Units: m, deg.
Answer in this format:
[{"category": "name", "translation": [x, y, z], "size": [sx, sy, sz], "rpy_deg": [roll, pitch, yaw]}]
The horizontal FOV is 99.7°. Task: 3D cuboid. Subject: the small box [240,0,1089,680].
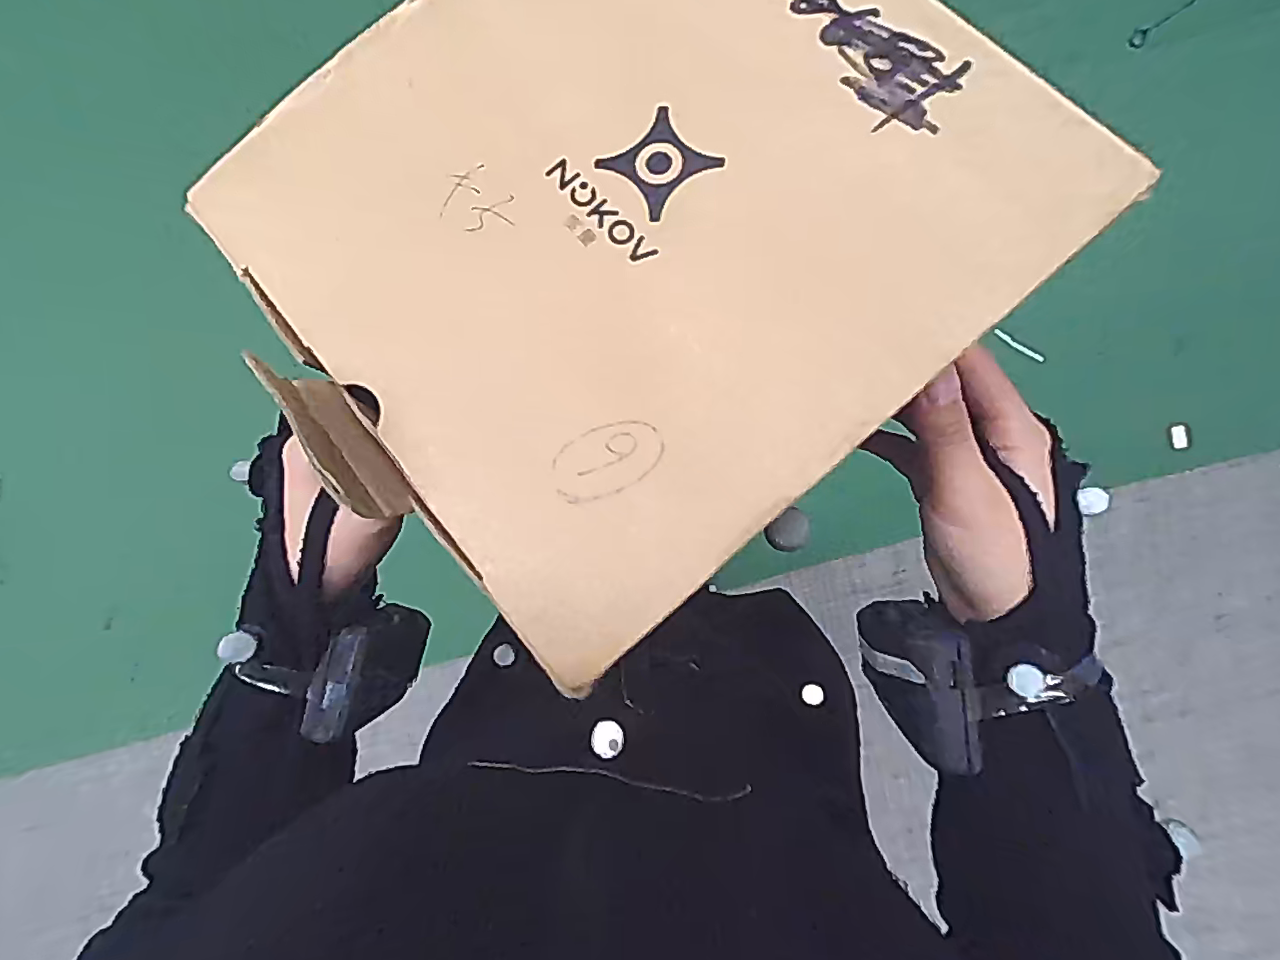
[{"category": "small box", "translation": [0.005, -0.051, 0.225], "size": [0.179, 0.176, 0.168], "rpy_deg": [-41, 79, -3]}]
